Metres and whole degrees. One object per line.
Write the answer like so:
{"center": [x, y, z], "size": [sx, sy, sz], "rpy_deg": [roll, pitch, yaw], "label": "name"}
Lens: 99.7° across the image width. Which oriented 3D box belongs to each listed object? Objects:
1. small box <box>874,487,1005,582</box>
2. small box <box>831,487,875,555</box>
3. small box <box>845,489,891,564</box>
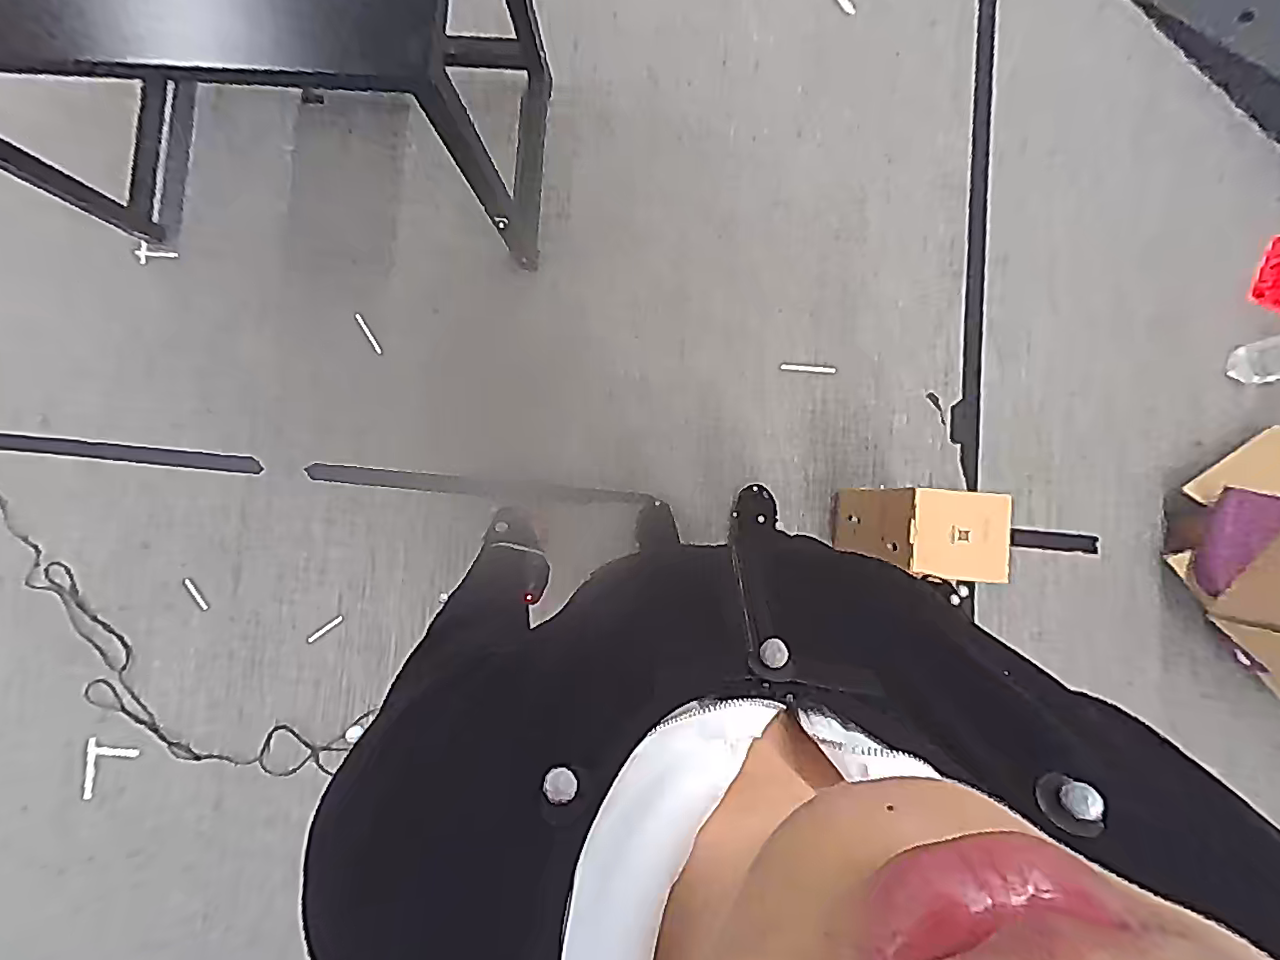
{"center": [0.588, 0.104, 1.083], "size": [0.179, 0.176, 0.168], "rpy_deg": [4, 88, 2], "label": "small box"}
{"center": [0.607, 0.115, 1.409], "size": [0.168, 0.176, 0.179], "rpy_deg": [5, 88, 3], "label": "small box"}
{"center": [0.594, 0.109, 1.245], "size": [0.179, 0.176, 0.168], "rpy_deg": [5, 87, 4], "label": "small box"}
